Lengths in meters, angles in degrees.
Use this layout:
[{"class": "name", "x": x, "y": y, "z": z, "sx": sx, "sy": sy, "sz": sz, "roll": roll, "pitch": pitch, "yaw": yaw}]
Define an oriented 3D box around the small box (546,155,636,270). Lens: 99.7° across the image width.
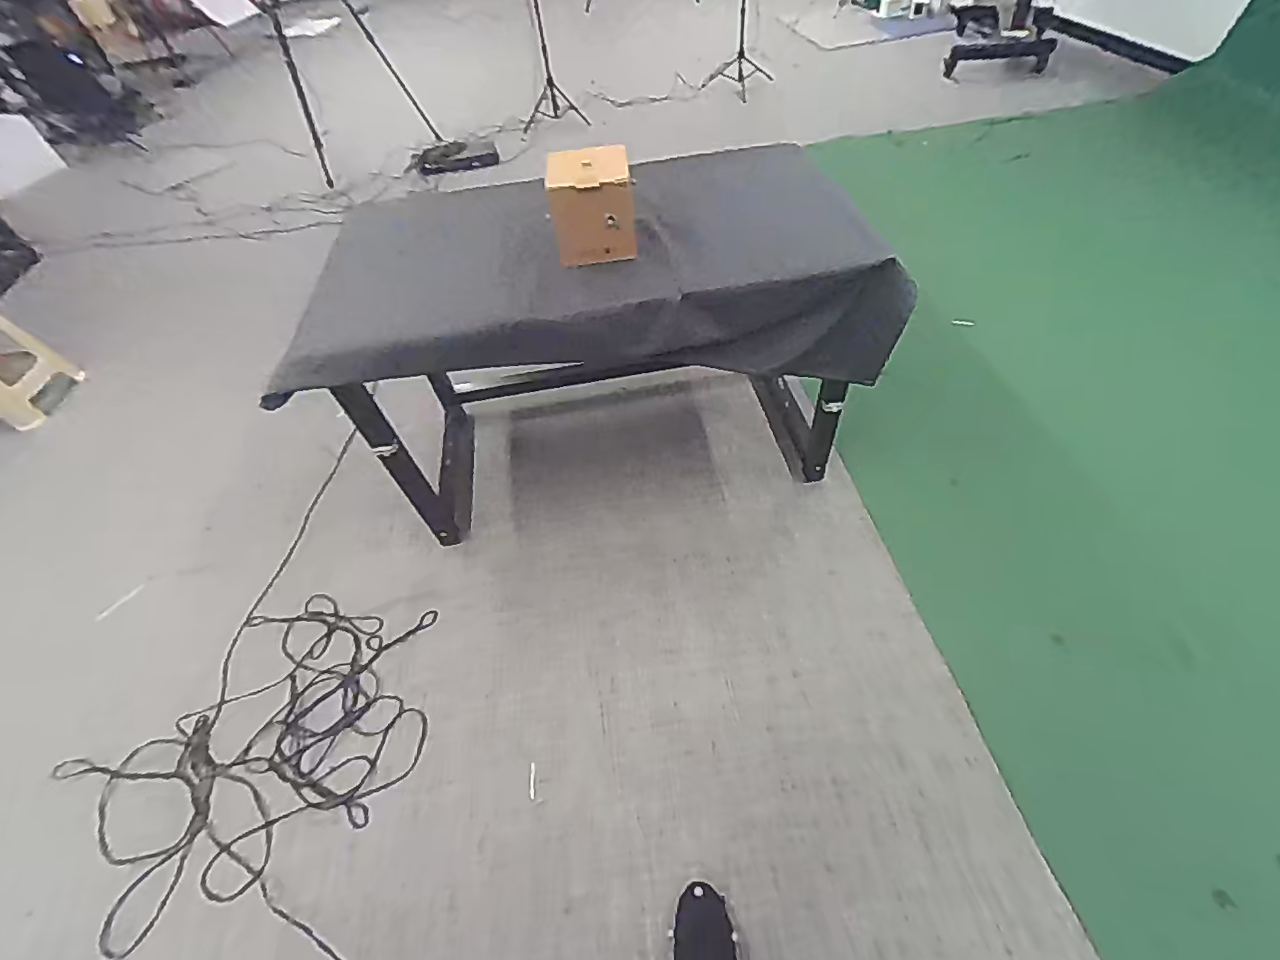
[{"class": "small box", "x": -0.101, "y": -0.567, "z": 1.160, "sx": 0.168, "sy": 0.176, "sz": 0.179, "roll": -6, "pitch": 49, "yaw": 0}]
